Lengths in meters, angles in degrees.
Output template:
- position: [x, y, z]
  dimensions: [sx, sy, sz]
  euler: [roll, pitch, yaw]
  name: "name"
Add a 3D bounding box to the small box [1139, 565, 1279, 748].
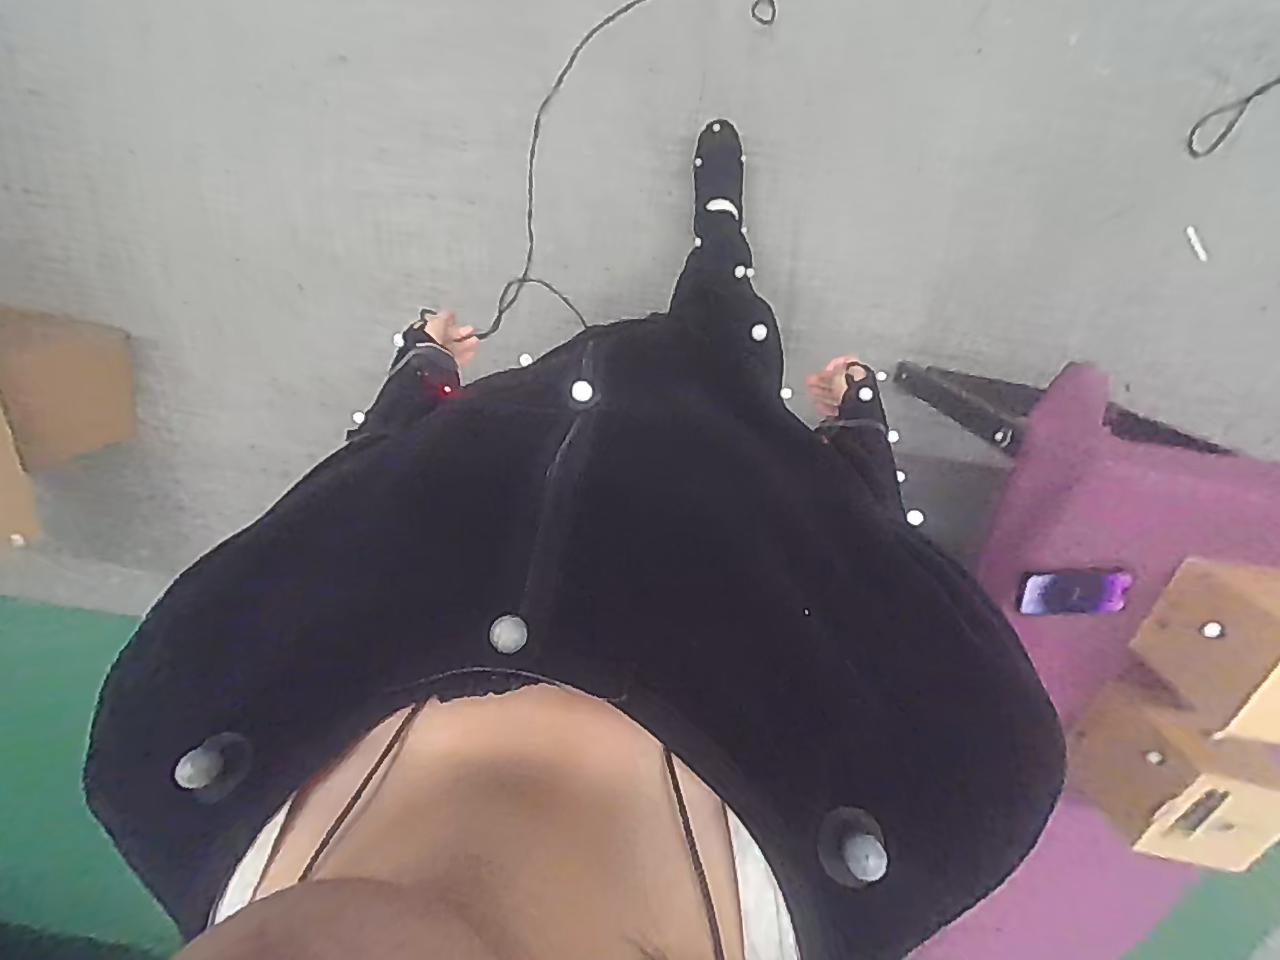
- position: [0.833, 0.230, 0.712]
  dimensions: [0.179, 0.176, 0.168]
  euler: [9, 113, 0]
  name: "small box"
